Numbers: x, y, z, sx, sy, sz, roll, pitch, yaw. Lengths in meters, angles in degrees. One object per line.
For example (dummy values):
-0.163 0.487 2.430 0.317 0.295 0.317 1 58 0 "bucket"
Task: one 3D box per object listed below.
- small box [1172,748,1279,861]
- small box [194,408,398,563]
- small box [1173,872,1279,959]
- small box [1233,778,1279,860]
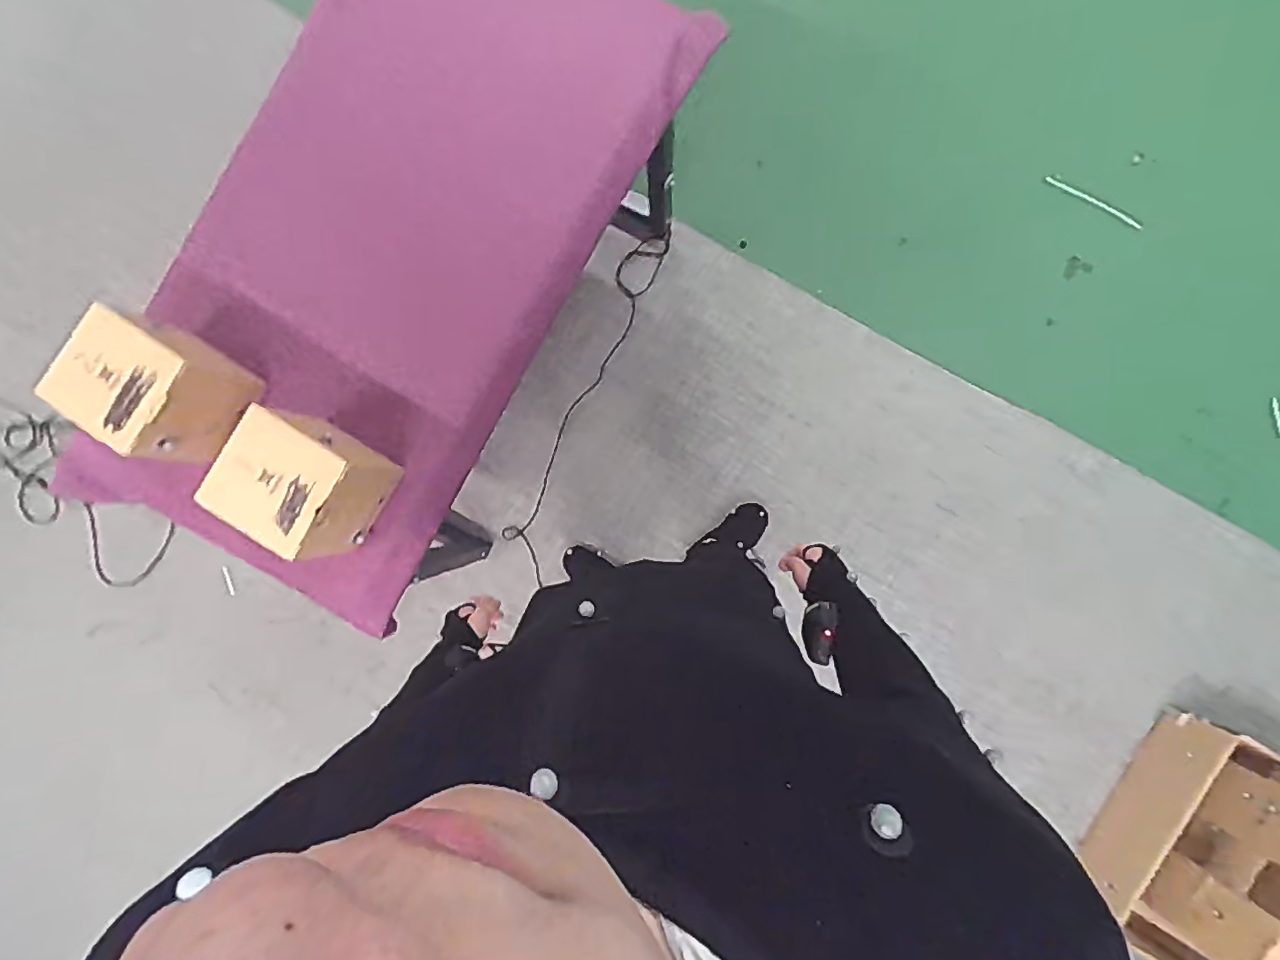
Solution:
1.594 0.848 1.427 0.179 0.176 0.168 33 90 2 "small box"
-0.523 0.009 0.851 0.179 0.176 0.168 31 90 4 "small box"
1.437 1.078 1.266 0.179 0.176 0.168 33 90 4 "small box"
1.586 0.844 1.265 0.179 0.176 0.168 33 90 3 "small box"
